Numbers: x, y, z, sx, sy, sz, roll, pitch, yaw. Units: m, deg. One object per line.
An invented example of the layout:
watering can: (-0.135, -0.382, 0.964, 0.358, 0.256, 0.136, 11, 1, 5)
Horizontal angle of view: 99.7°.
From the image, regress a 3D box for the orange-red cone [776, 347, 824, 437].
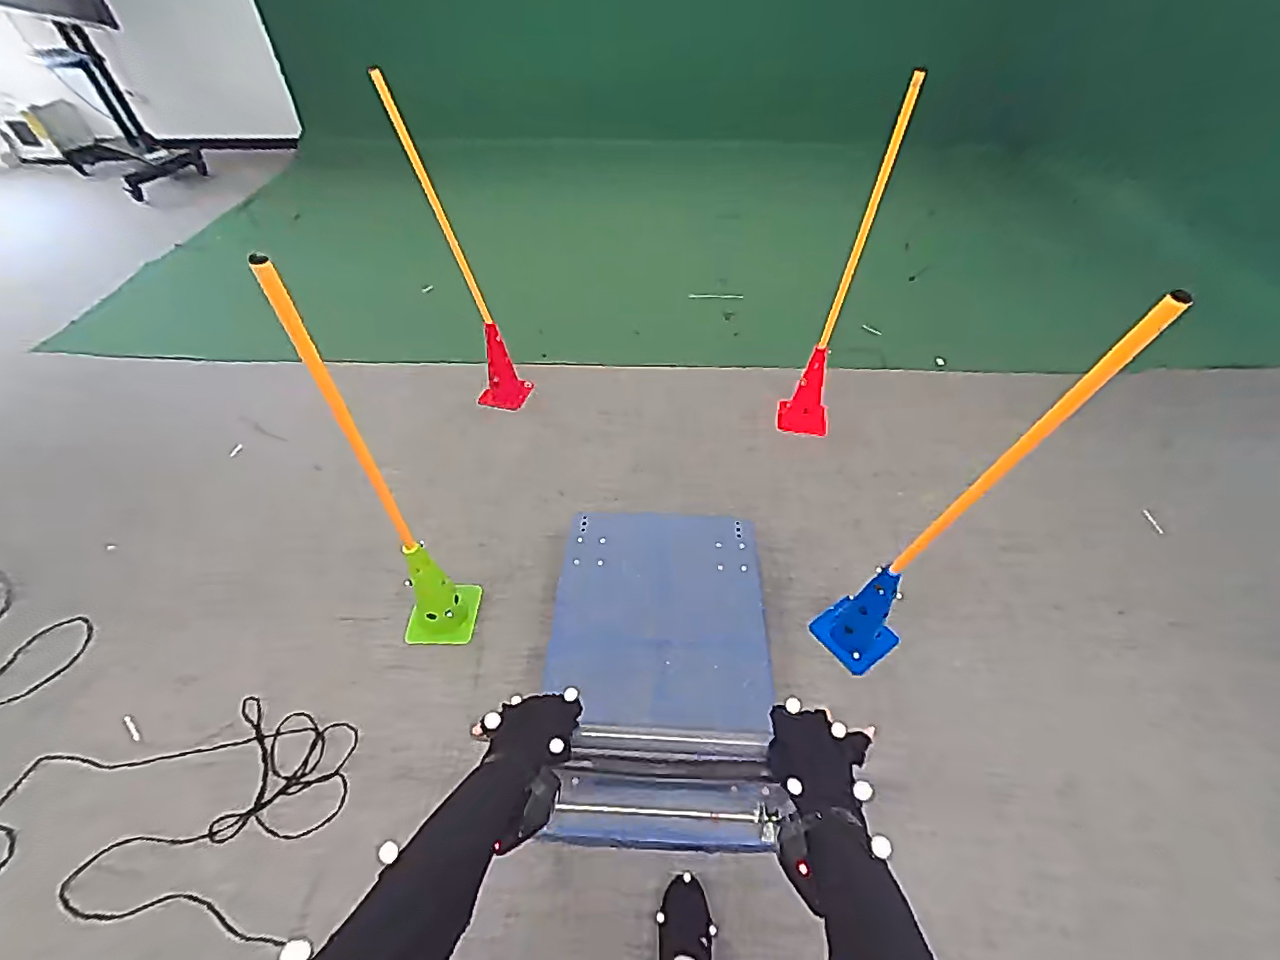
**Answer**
orange-red cone: (0.677, -0.371, 2.164, 0.198, 0.360, 0.199, 9, 49, 9)
